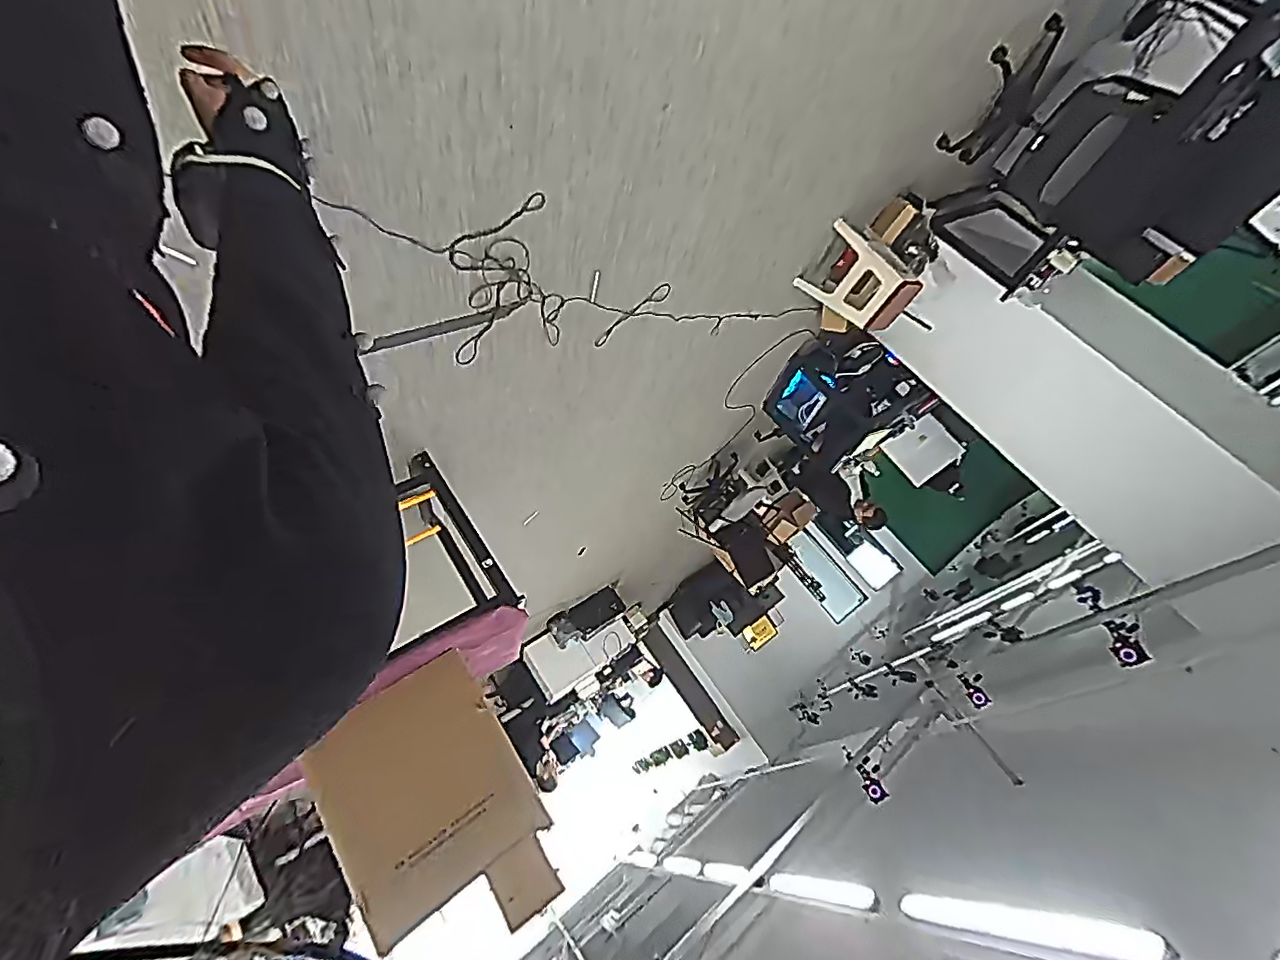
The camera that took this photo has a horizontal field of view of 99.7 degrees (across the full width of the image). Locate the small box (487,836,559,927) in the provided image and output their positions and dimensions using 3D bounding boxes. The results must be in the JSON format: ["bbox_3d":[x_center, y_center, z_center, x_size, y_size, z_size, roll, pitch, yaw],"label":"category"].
[{"bbox_3d":[-0.380,1.284,1.744,0.168,0.176,0.179,-27,158,-27],"label":"small box"}]
